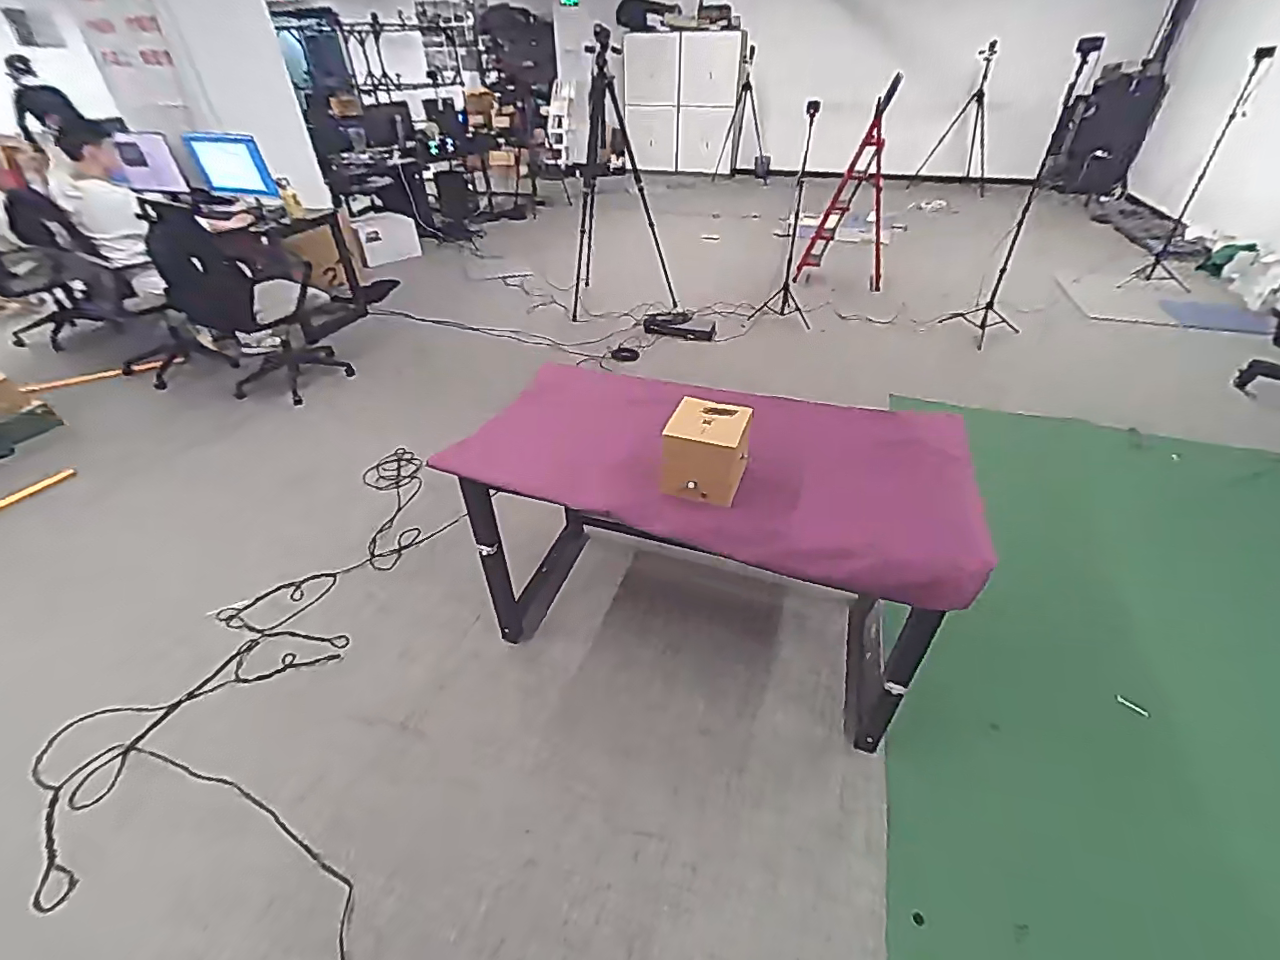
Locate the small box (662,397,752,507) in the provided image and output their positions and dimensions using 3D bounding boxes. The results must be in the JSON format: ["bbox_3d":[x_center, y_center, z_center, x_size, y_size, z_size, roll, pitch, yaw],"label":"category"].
[{"bbox_3d":[0.152,-0.066,1.240,0.168,0.176,0.179,12,40,17],"label":"small box"}]
